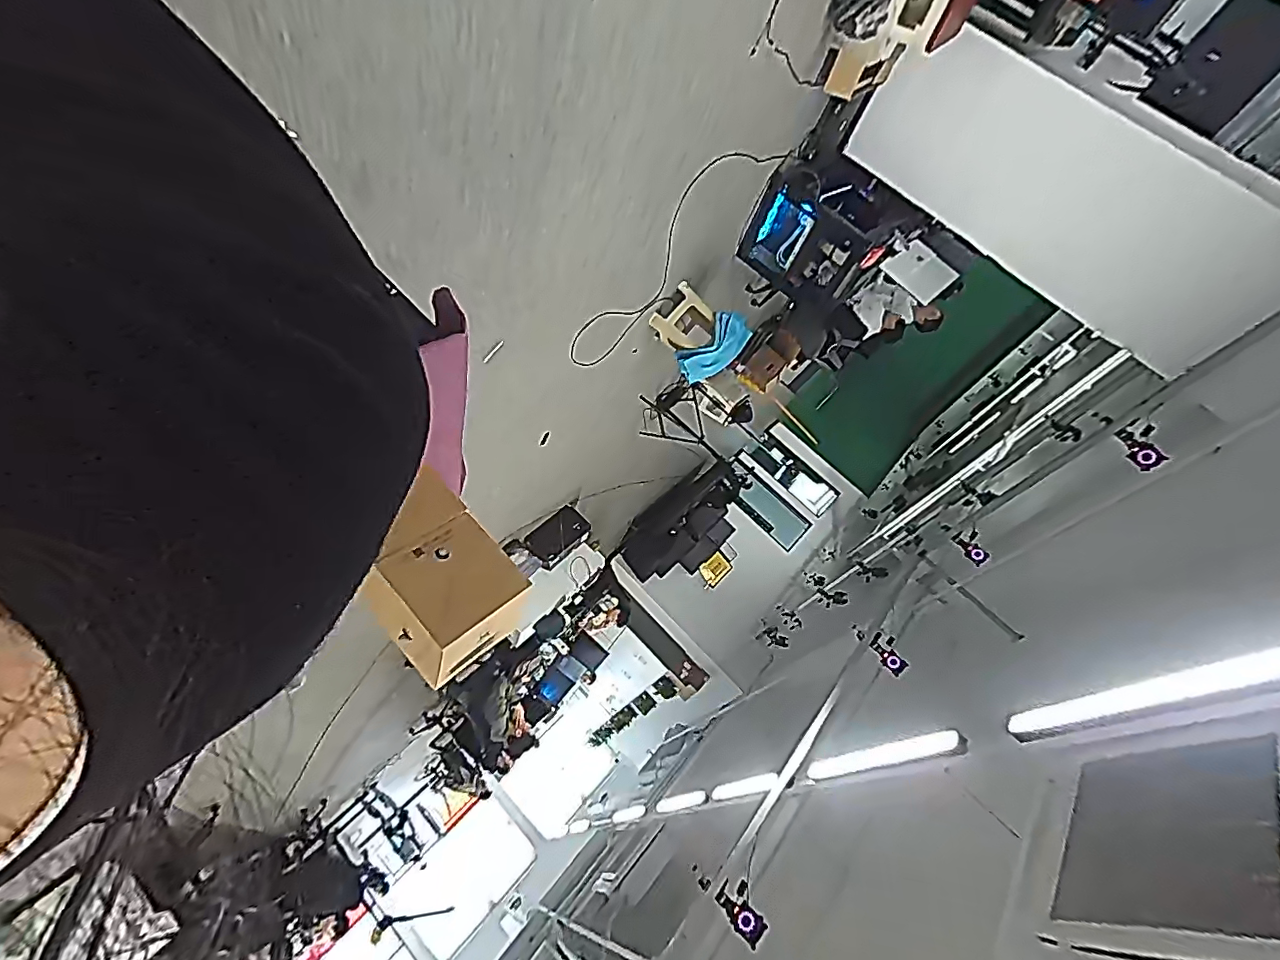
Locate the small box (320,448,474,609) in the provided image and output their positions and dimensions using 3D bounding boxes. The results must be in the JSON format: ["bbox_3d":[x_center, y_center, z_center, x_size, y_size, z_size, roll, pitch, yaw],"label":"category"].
[{"bbox_3d":[-0.407,0.078,0.911,0.168,0.176,0.179,-35,162,-39],"label":"small box"}]
